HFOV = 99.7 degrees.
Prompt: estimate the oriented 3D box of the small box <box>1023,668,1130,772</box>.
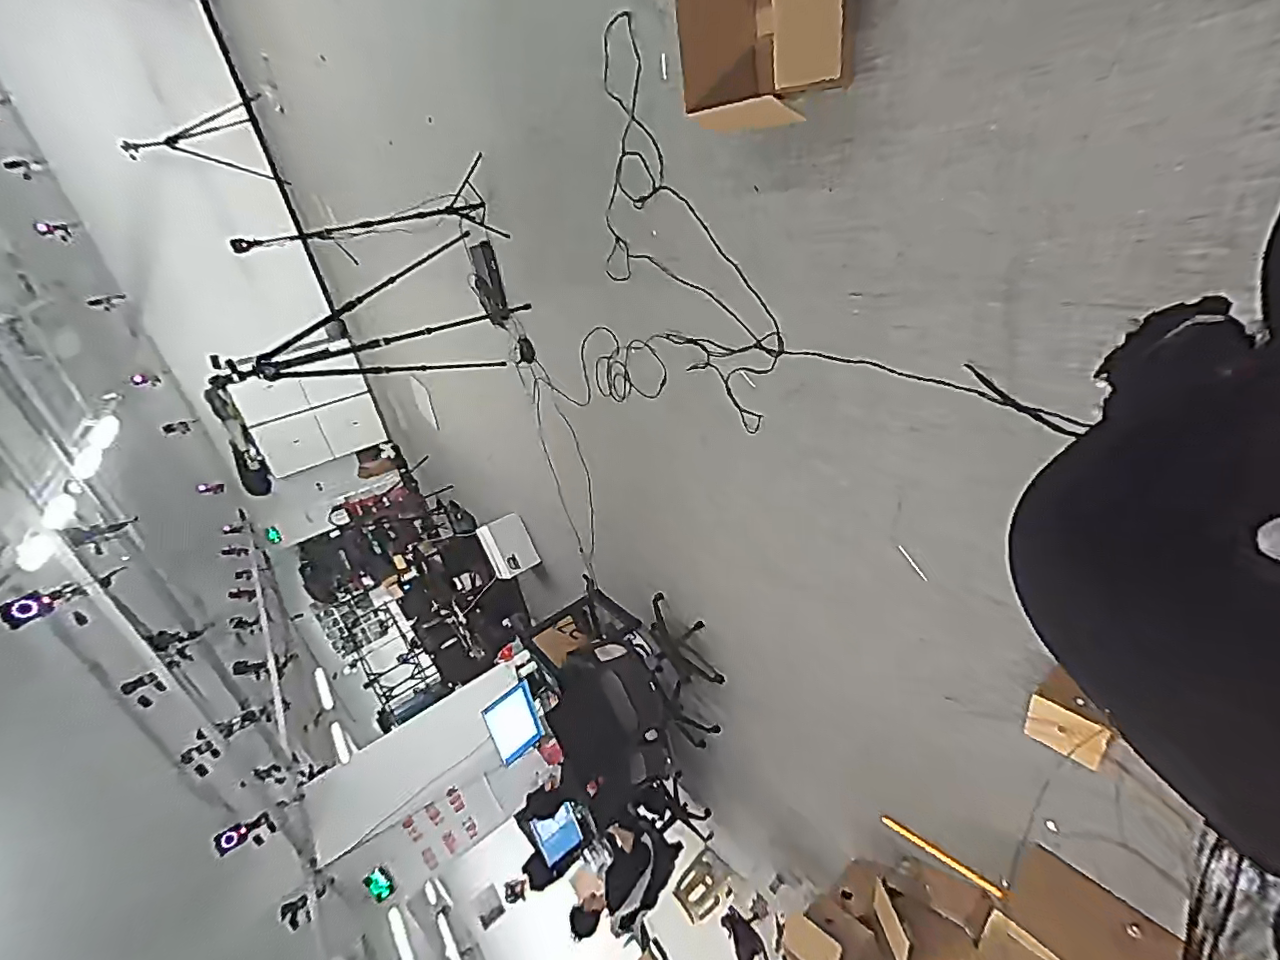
[{"bbox_3d":[1.210,0.654,1.502,0.179,0.176,0.168,23,131,48],"label":"small box"}]
